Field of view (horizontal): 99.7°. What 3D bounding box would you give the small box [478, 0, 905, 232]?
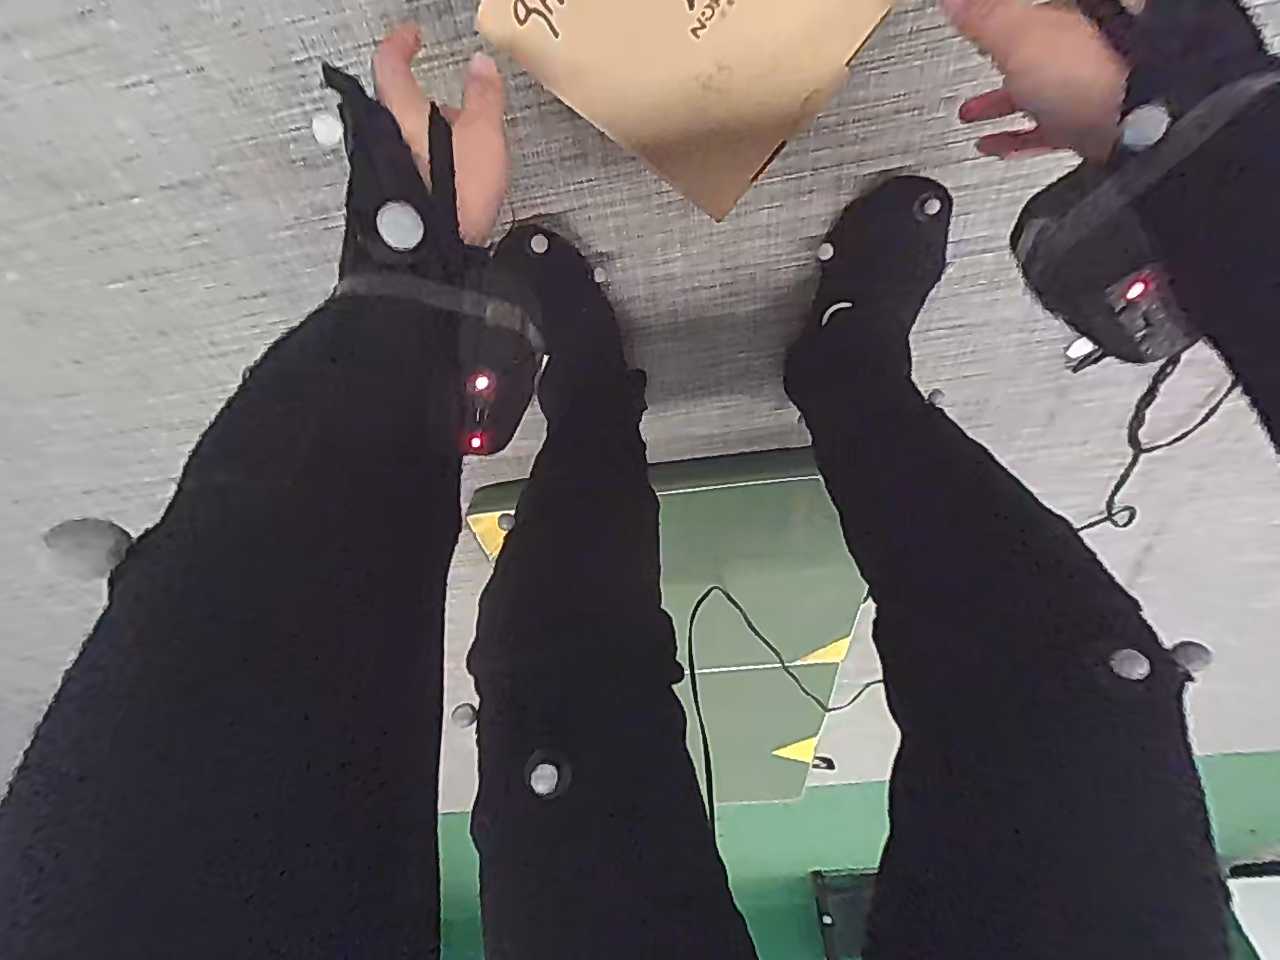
[{"bbox_3d":[0.025,-0.306,0.342,0.179,0.176,0.168,26,130,-26],"label":"small box"}]
